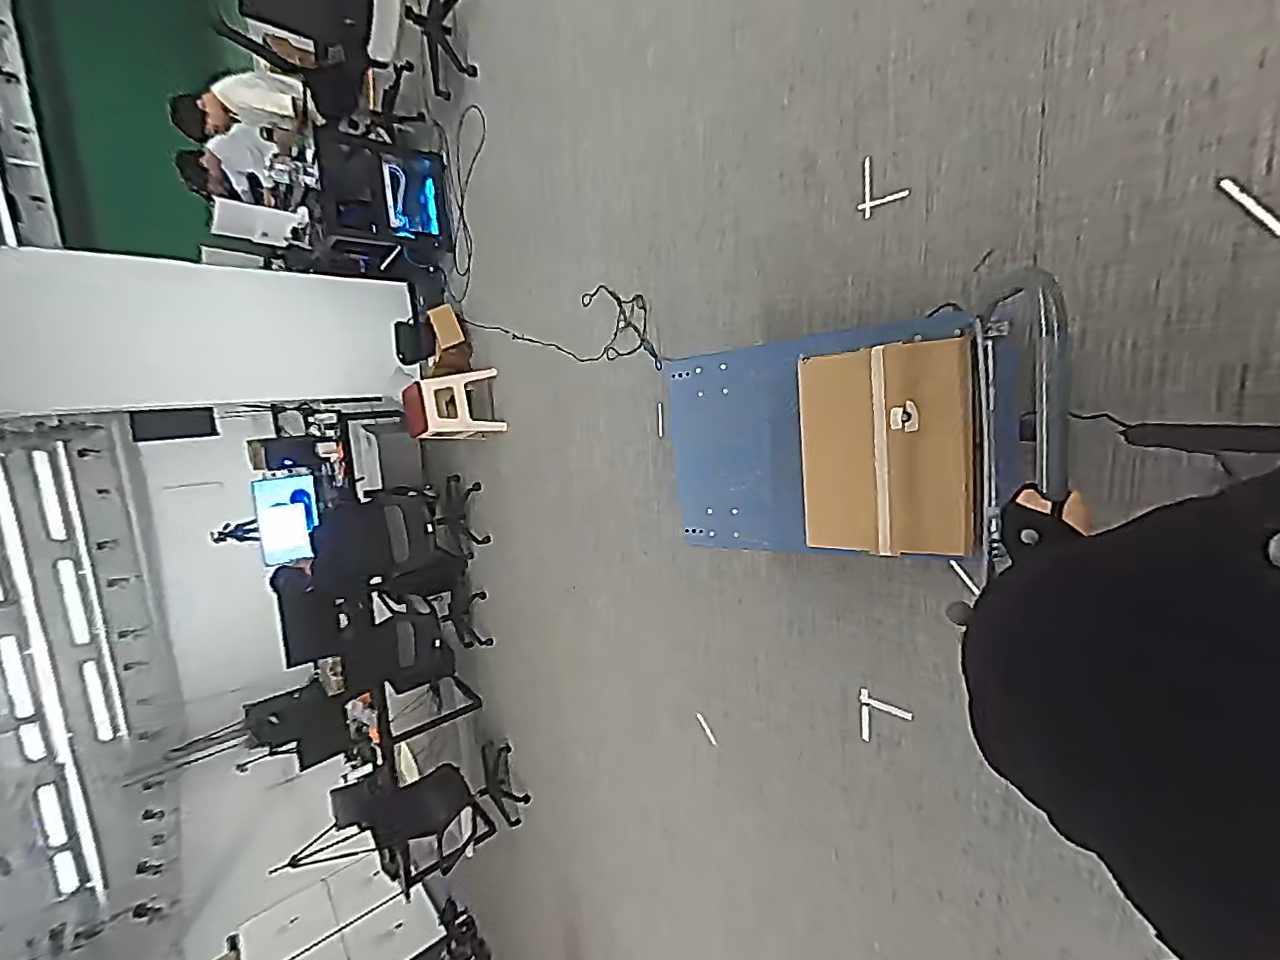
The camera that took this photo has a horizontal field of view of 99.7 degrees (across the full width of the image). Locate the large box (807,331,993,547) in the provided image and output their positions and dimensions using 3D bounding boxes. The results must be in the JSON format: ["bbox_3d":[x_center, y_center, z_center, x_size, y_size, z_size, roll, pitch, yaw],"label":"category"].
[{"bbox_3d":[0.577,-0.084,1.183,0.320,0.320,0.408,-1,97,34],"label":"large box"}]
